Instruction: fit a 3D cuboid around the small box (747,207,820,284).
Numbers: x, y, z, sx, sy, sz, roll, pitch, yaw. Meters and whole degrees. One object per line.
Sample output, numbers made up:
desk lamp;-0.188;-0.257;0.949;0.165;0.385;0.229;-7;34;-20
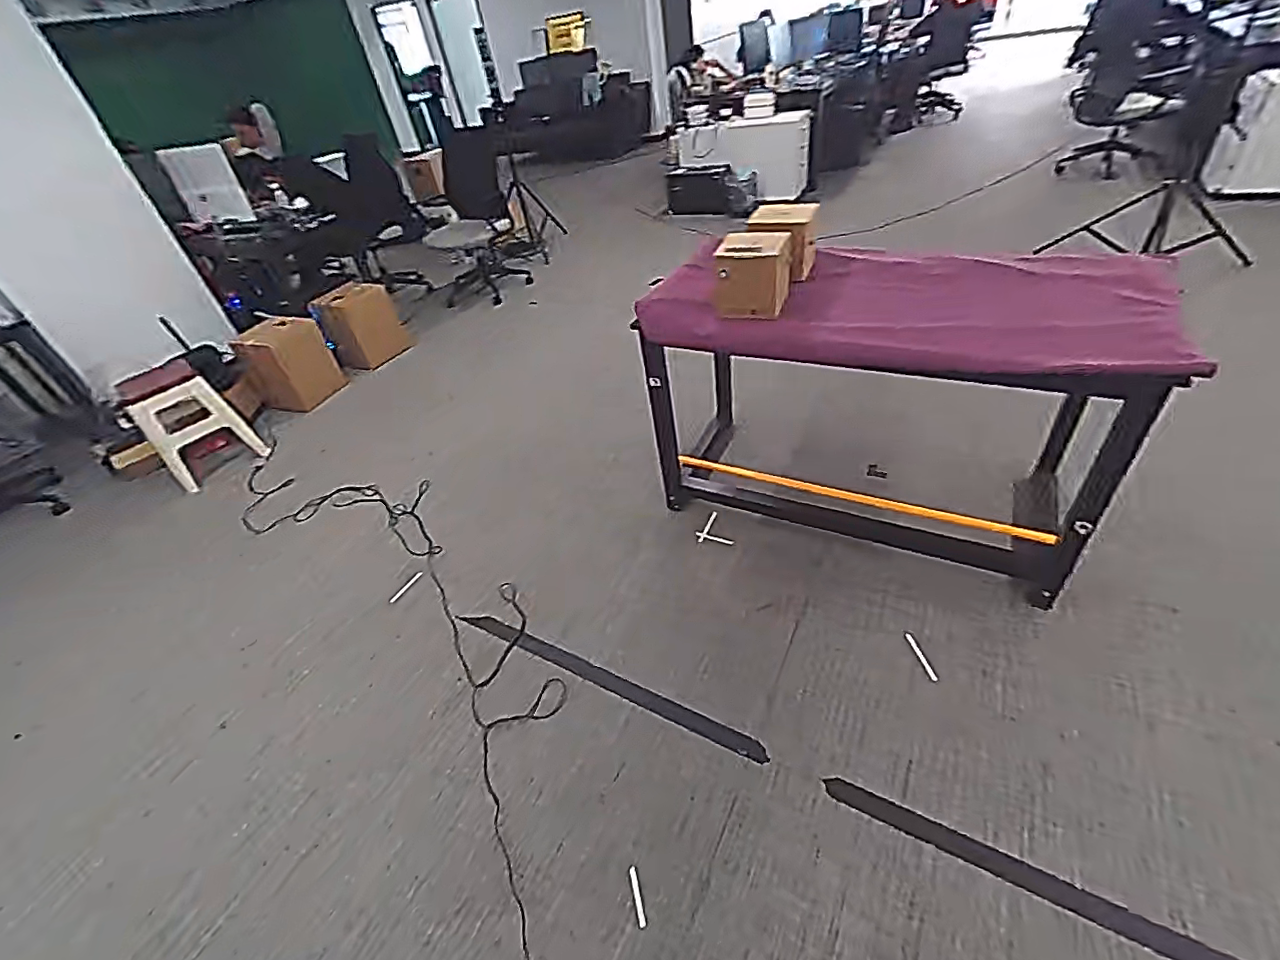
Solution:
small box;0.425;-0.696;1.608;0.179;0.176;0.168;11;45;24
